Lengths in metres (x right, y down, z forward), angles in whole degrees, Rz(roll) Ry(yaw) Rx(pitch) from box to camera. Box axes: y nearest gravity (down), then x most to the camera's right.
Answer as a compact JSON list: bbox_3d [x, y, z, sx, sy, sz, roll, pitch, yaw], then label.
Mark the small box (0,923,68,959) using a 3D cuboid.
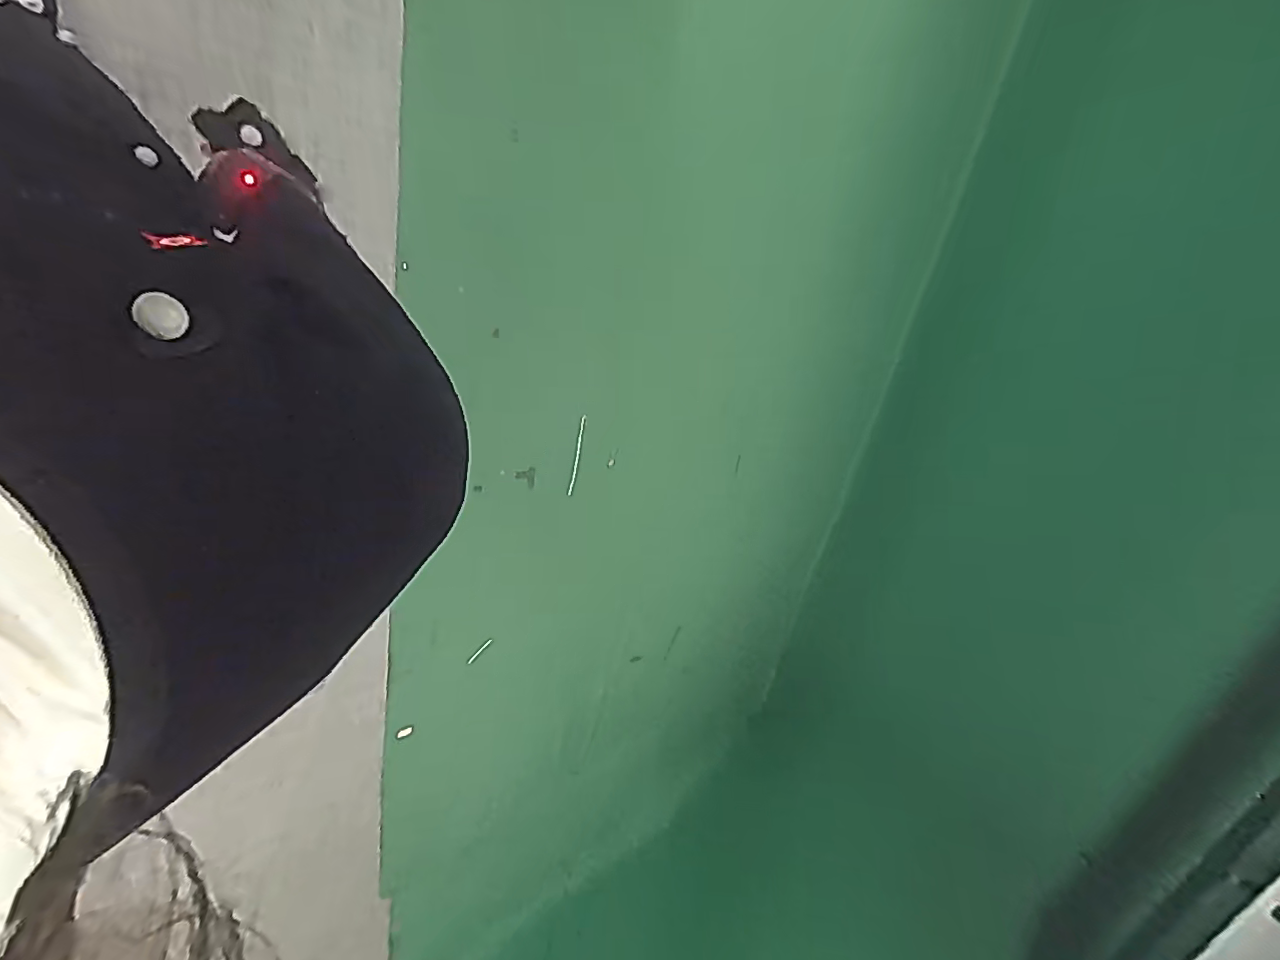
[{"bbox_3d":[-1.567,1.282,1.352,0.179,0.176,0.168,-12,124,-45],"label":"small box"}]
